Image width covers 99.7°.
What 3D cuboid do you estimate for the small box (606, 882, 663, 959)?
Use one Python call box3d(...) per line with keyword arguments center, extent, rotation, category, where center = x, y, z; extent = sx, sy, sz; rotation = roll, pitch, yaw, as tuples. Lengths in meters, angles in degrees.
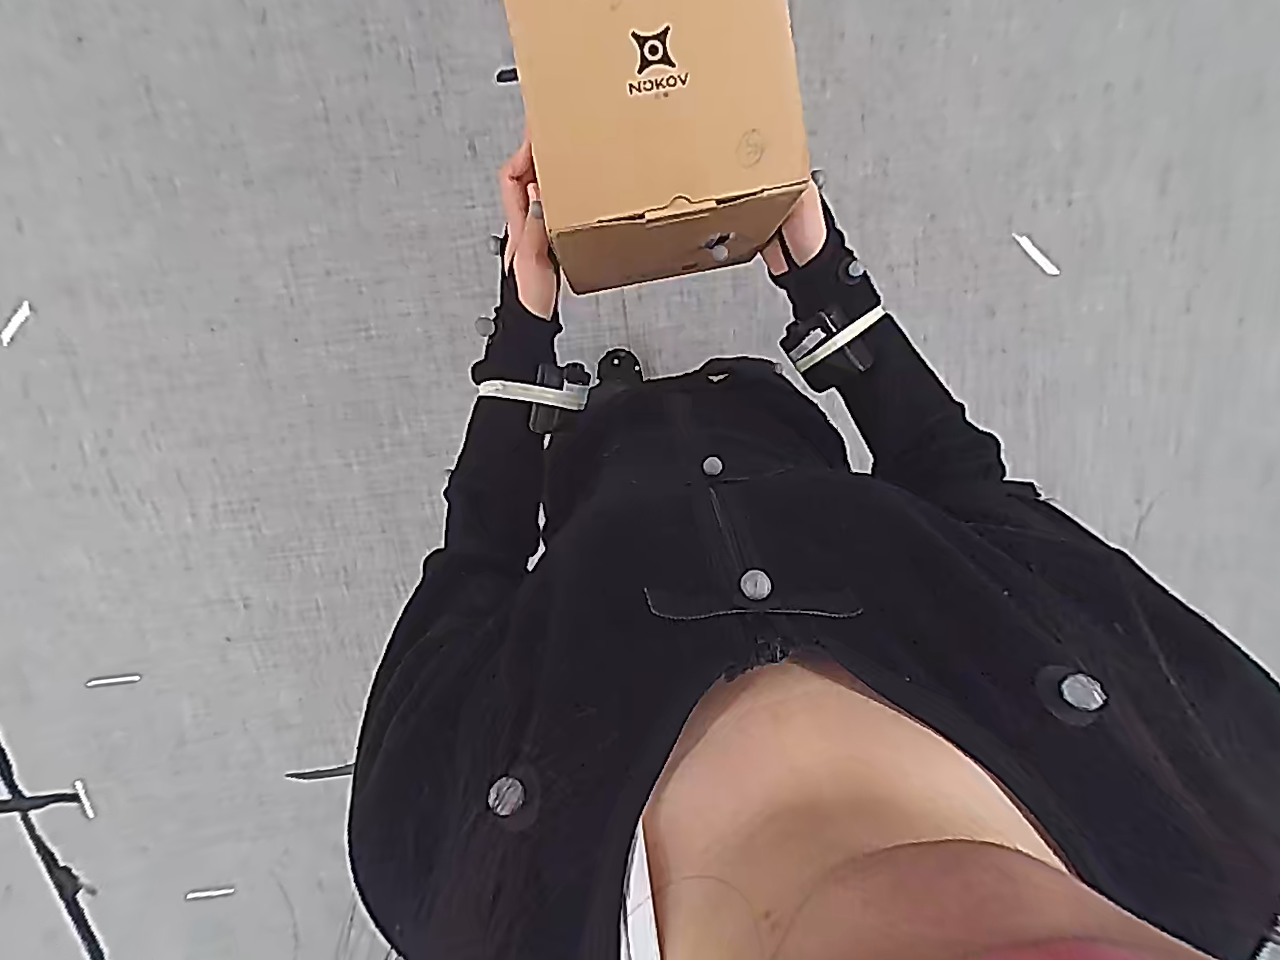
box3d(center=(-0.015, 1.462, 1.759), extent=(0.168, 0.176, 0.179), rotation=(-8, 103, -1), category="small box")
